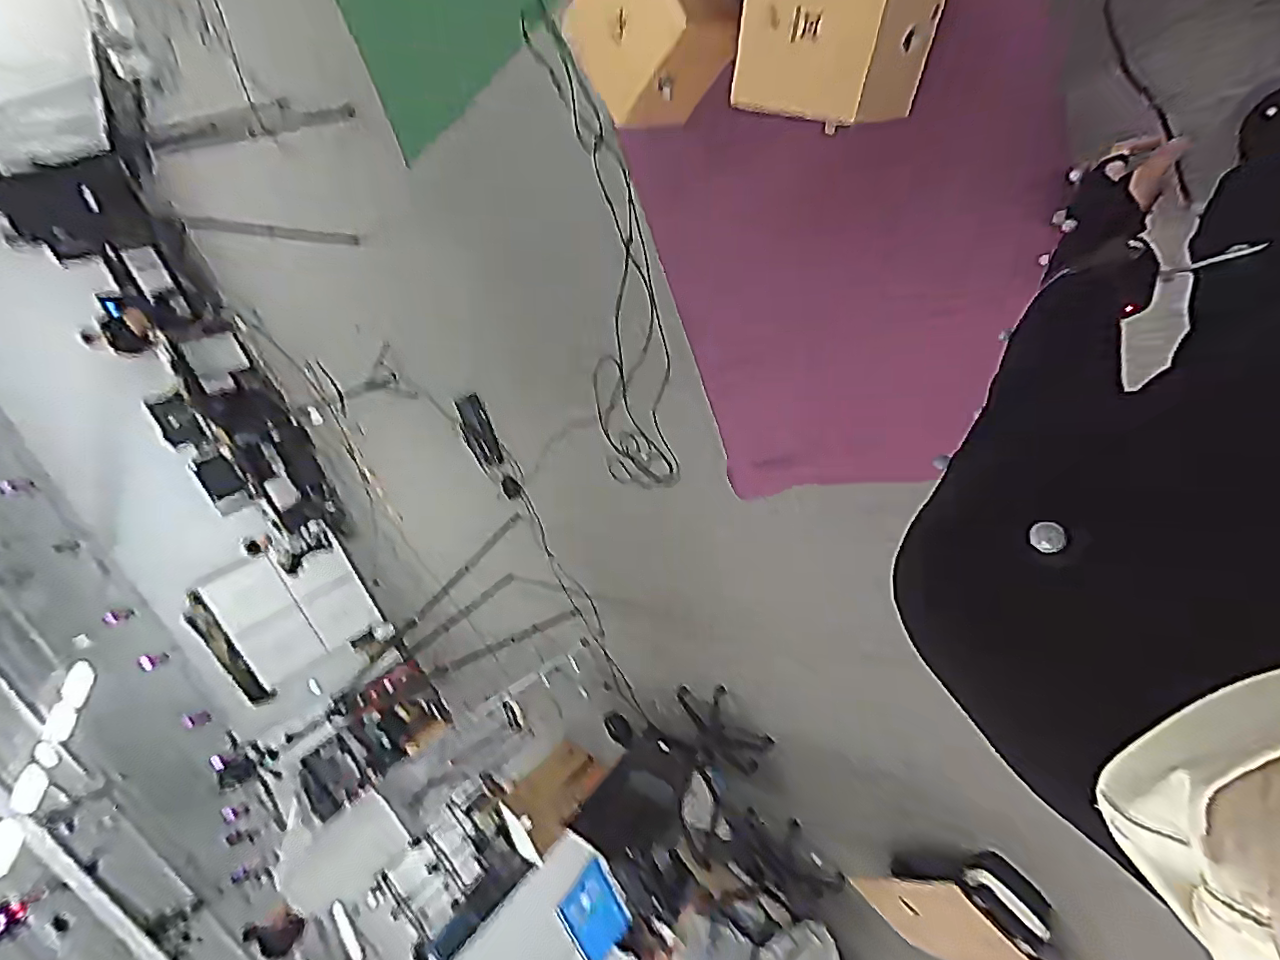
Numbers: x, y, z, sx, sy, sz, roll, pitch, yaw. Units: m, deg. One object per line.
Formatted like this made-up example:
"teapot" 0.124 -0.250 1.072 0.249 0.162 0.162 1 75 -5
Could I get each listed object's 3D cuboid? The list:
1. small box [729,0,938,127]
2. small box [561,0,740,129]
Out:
"small box" 0.236 -0.539 0.650 0.179 0.176 0.168 31 137 29
"small box" 0.022 -0.661 0.796 0.179 0.176 0.168 -26 98 53
